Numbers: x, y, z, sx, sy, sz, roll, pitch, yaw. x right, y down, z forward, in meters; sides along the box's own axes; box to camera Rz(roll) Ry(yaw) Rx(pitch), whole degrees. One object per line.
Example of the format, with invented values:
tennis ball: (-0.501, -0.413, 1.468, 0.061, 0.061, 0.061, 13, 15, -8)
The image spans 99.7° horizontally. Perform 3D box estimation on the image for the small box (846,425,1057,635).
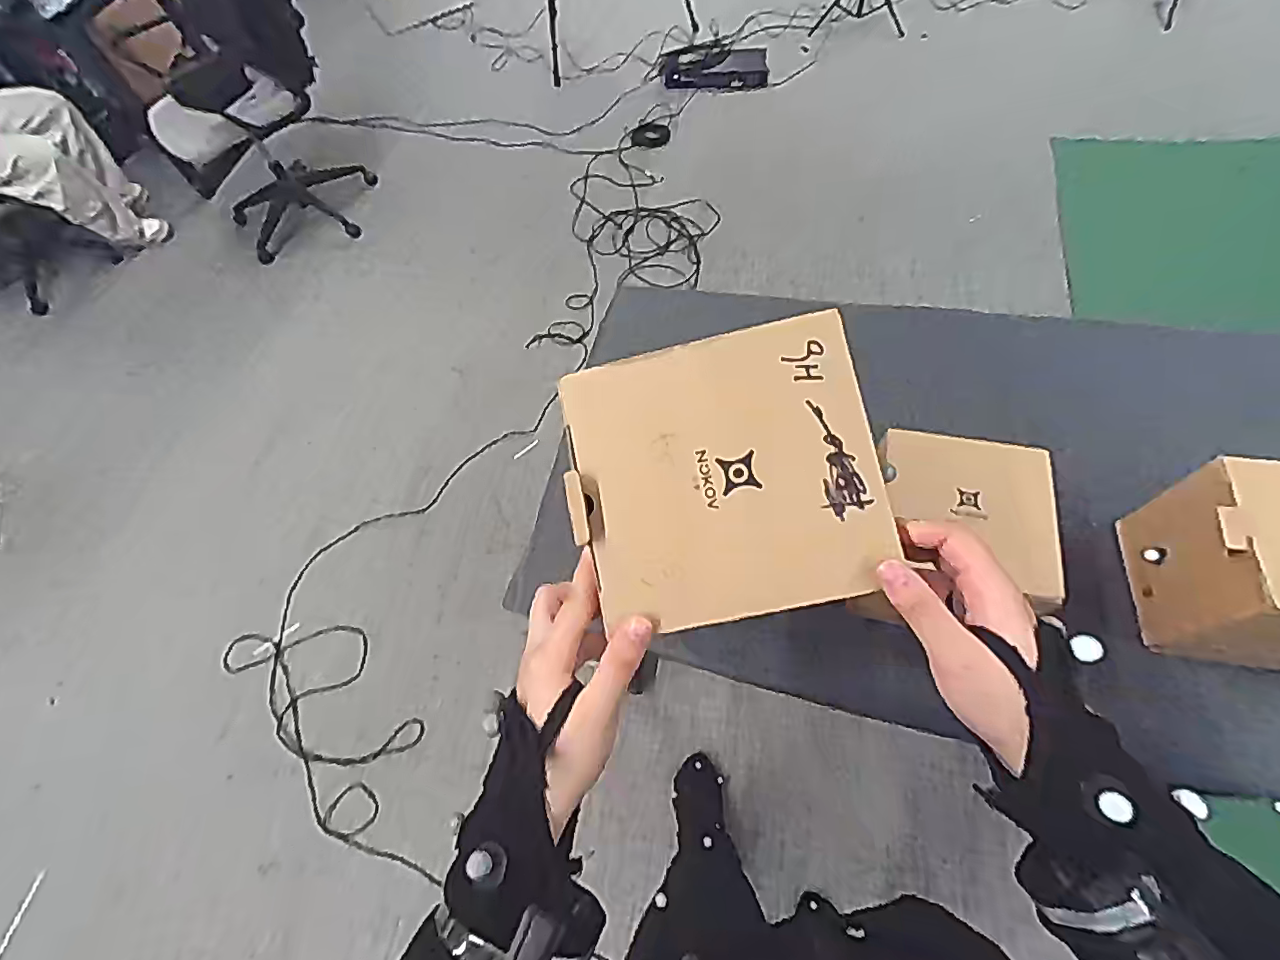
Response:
small box: (0.346, 0.063, 0.633, 0.168, 0.176, 0.179, 9, 63, 14)

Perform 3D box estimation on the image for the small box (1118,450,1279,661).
small box: (0.670, 0.087, 0.572, 0.179, 0.176, 0.168, 6, 62, 12)

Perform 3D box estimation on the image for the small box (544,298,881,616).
small box: (0.049, -0.005, 0.401, 0.179, 0.176, 0.168, -13, 83, 7)
